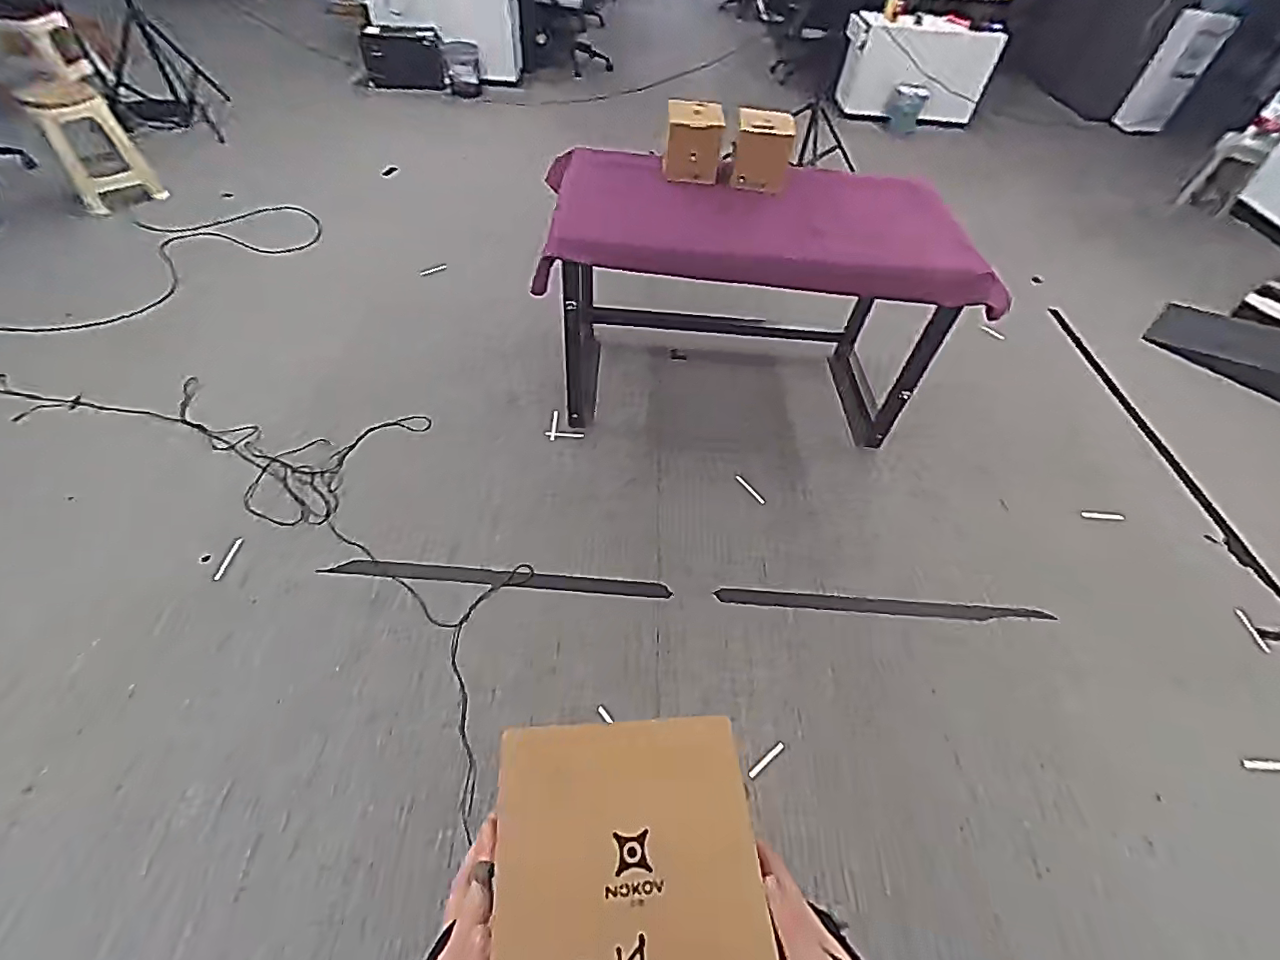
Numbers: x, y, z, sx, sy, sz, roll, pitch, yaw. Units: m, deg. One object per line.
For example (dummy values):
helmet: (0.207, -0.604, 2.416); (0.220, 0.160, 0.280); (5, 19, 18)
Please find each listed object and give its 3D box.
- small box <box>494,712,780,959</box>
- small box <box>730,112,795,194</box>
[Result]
small box: (-0.017, 0.289, 0.394); (0.168, 0.176, 0.179); (1, 49, -11)
small box: (0.380, -1.023, 1.698); (0.168, 0.176, 0.179); (7, 52, 0)
